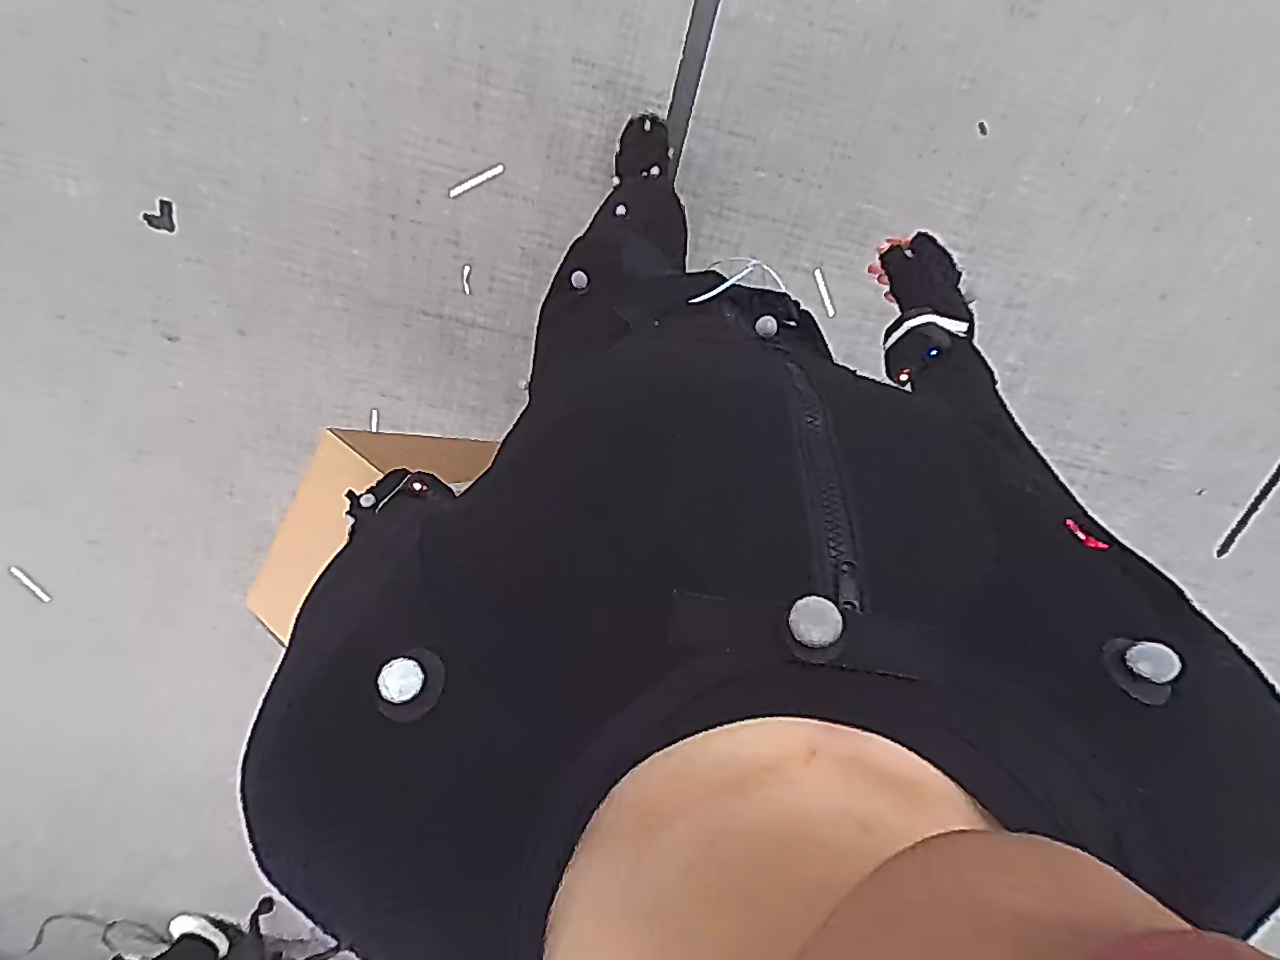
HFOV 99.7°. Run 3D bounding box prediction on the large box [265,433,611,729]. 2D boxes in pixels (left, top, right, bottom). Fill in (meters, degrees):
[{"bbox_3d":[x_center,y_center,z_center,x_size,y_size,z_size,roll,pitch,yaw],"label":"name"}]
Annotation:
[{"bbox_3d":[-0.316,0.139,0.934,0.320,0.408,0.320,36,102,16],"label":"large box"}]
